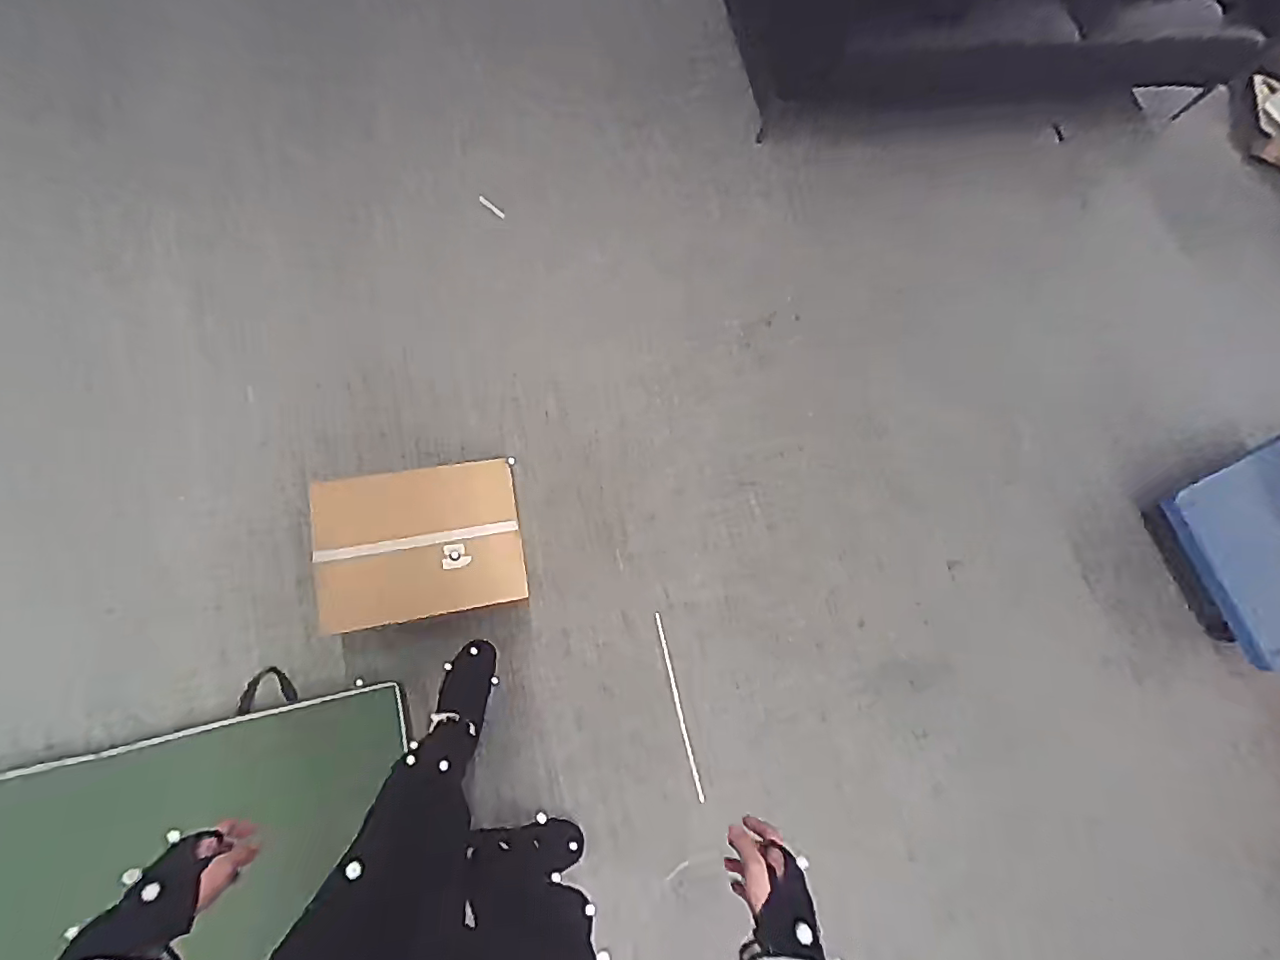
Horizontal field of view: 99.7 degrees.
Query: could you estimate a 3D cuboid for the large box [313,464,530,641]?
[{"bbox_3d":[-0.485,0.177,1.266,0.408,0.320,0.320,-8,78,-14],"label":"large box"}]
